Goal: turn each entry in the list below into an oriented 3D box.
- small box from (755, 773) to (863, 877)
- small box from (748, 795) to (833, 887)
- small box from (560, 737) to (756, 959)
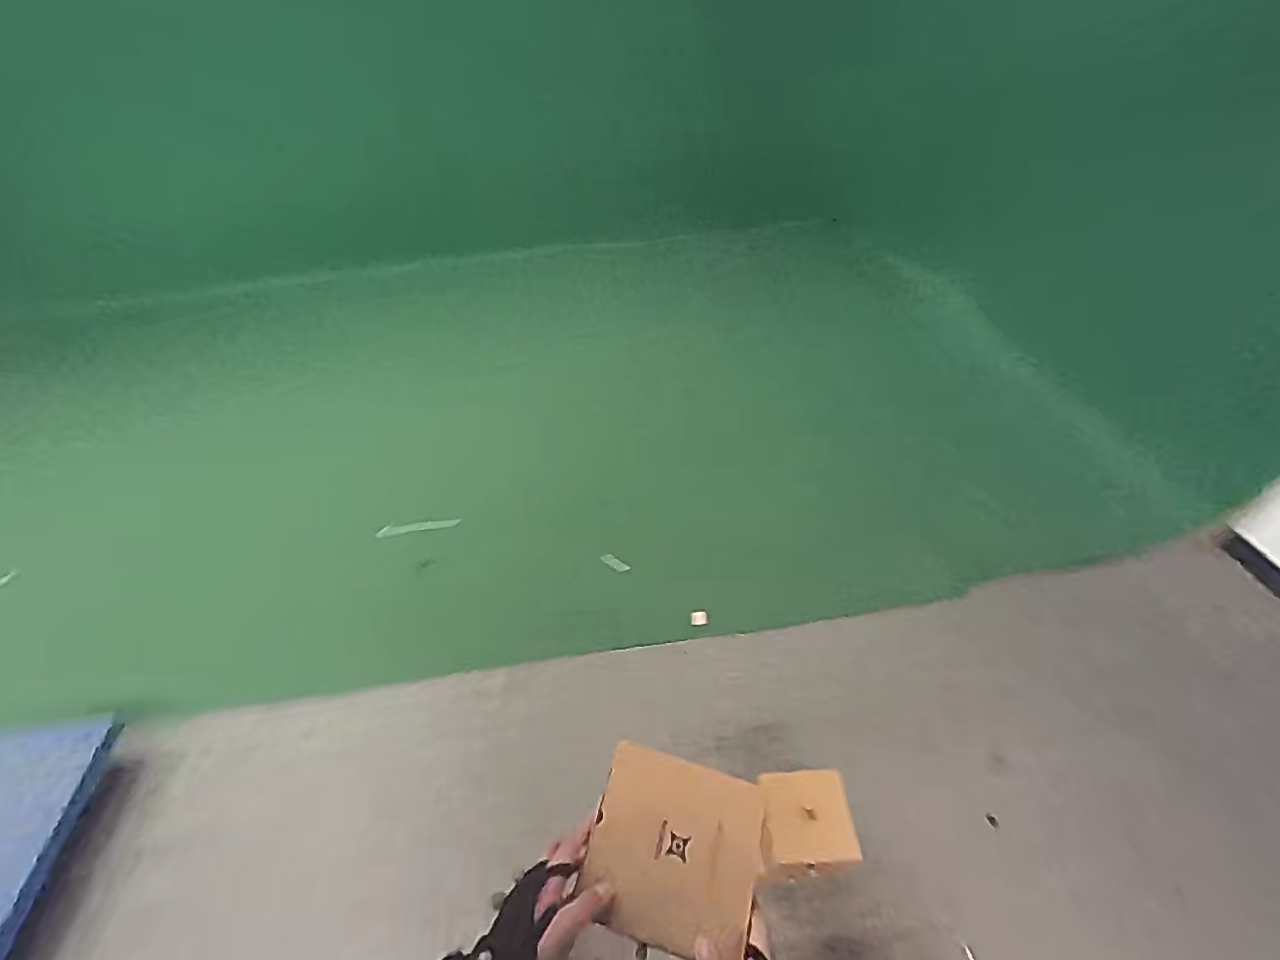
[{"bbox_3d":[0.358,0.755,1.182,0.179,0.176,0.168,-4,47,2],"label":"small box"},{"bbox_3d":[0.354,0.876,1.315,0.179,0.176,0.168,-3,47,1],"label":"small box"},{"bbox_3d":[0.019,0.429,0.628,0.179,0.176,0.168,16,51,6],"label":"small box"}]
